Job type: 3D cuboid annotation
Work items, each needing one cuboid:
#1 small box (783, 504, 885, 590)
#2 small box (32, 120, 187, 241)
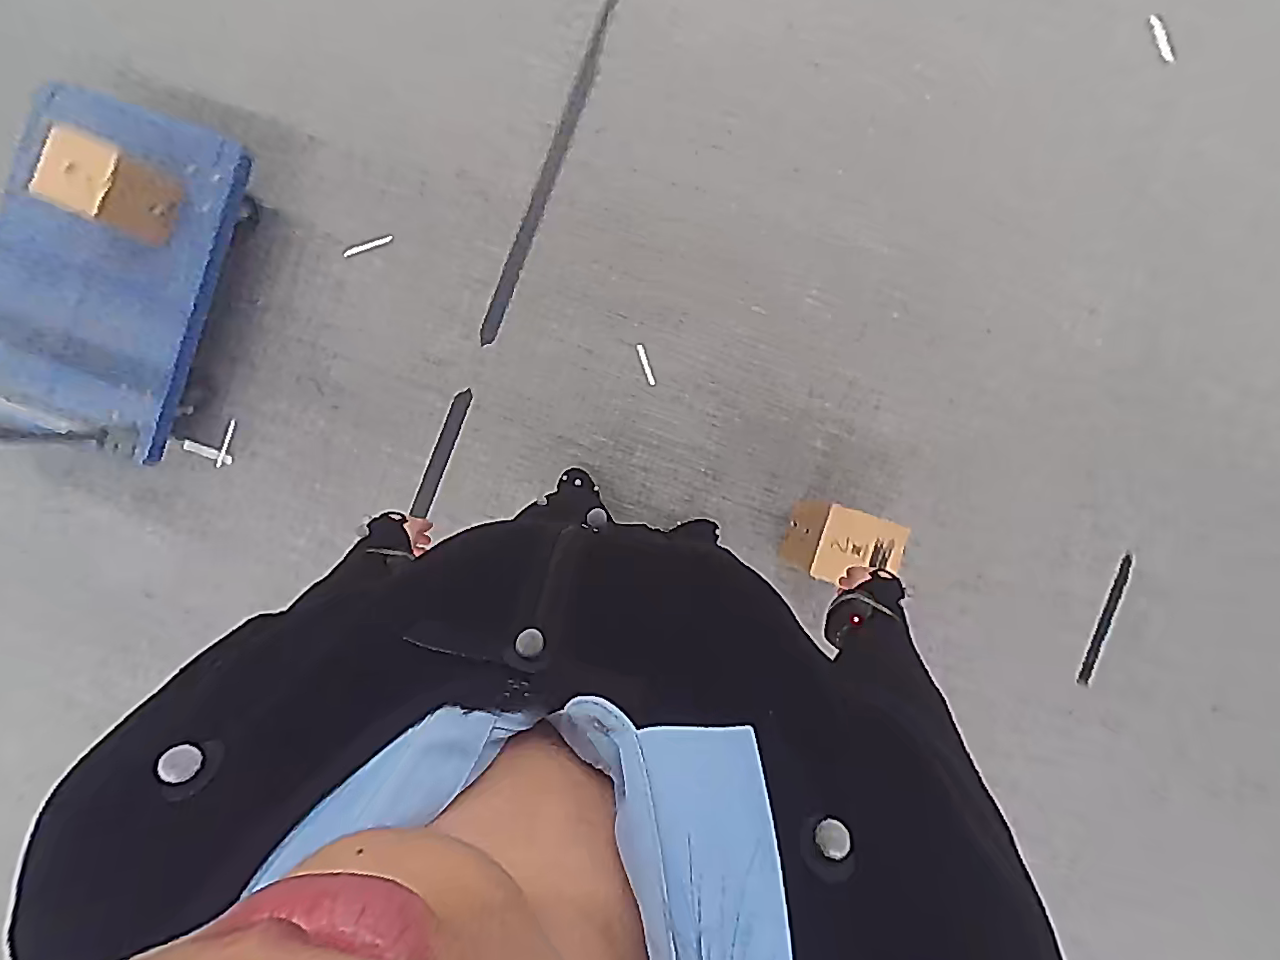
[{"bbox_3d":[0.491,0.164,1.392,0.179,0.176,0.168,19,91,3],"label":"small box"},{"bbox_3d":[-1.247,-0.698,1.283,0.179,0.176,0.168,24,92,2],"label":"small box"}]
